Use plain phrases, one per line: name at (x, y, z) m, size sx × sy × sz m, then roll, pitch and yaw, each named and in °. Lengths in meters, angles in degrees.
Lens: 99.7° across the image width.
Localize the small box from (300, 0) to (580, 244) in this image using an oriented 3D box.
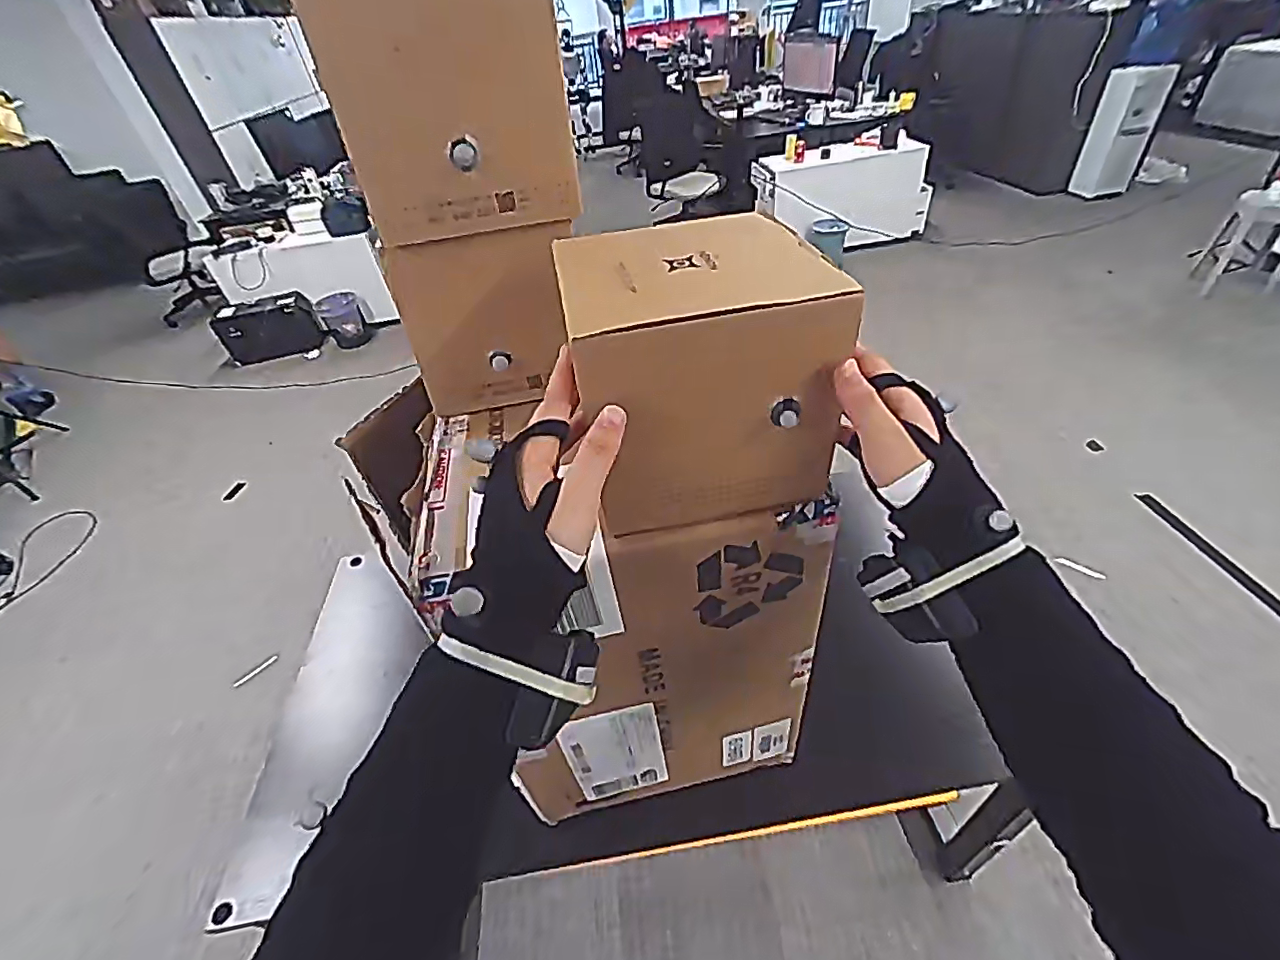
small box at (-0.155, -0.316, 0.464) m, size 0.168 × 0.176 × 0.179 m, roll -13°, pitch 40°, yaw -8°

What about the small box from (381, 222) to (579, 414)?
small box at (-0.149, -0.193, 0.574) m, size 0.168 × 0.176 × 0.179 m, roll -12°, pitch 40°, yaw -7°

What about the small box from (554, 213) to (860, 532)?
small box at (0.039, -0.084, 0.423) m, size 0.179 × 0.176 × 0.168 m, roll -12°, pitch 42°, yaw -4°
